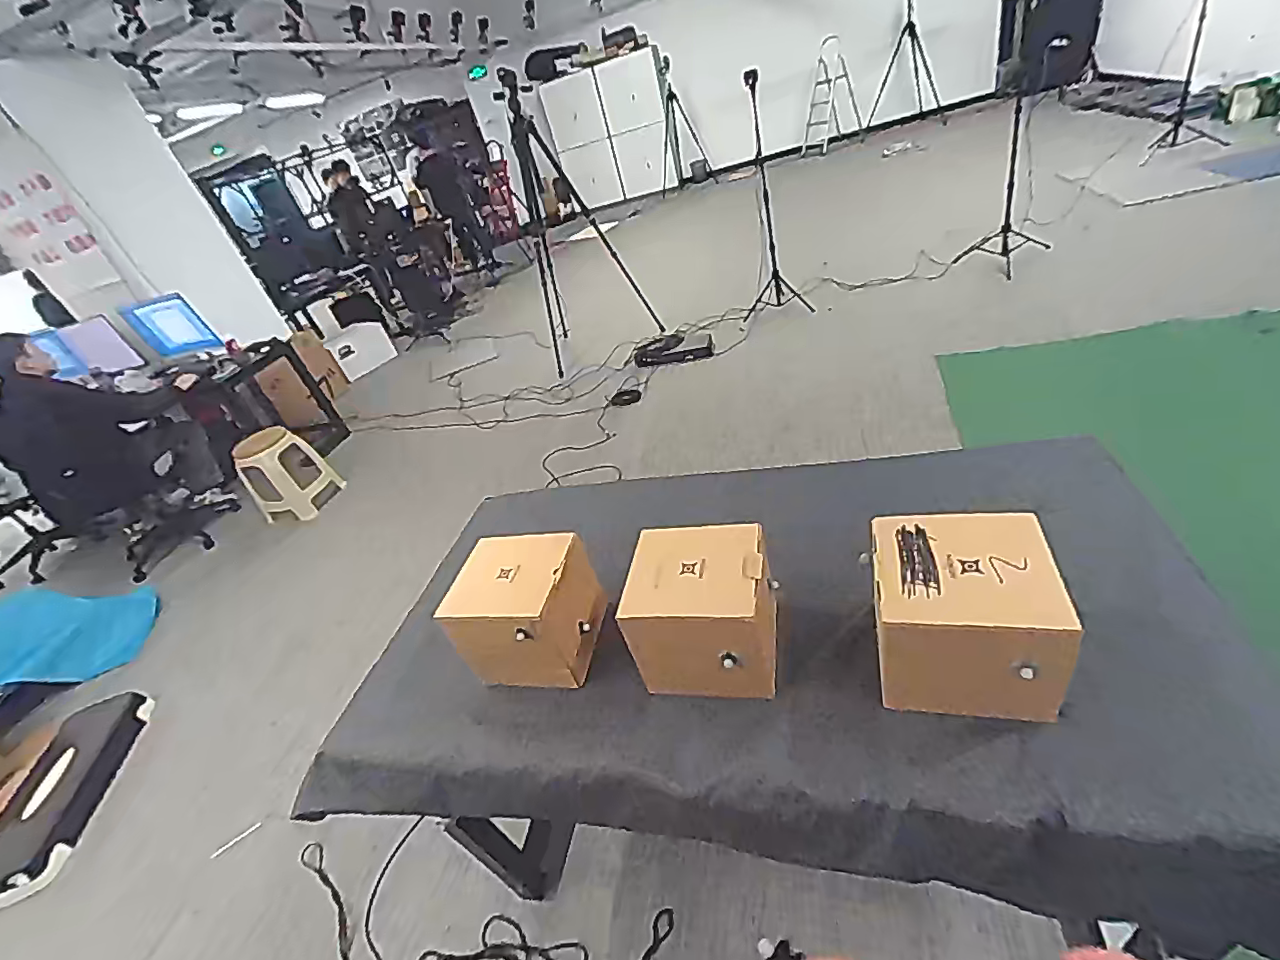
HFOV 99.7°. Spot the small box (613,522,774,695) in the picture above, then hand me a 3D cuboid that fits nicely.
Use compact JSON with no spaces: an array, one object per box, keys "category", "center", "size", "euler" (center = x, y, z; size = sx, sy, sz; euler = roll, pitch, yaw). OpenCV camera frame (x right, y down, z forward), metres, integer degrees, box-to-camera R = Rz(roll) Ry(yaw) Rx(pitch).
[{"category":"small box","center":[0.087,0.179,0.751],"size":[0.179,0.176,0.168],"euler":[-7,35,20]}]

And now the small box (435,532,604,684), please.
[{"category":"small box","center":[-0.176,0.201,0.847],"size":[0.179,0.176,0.168],"euler":[-5,36,18]}]
